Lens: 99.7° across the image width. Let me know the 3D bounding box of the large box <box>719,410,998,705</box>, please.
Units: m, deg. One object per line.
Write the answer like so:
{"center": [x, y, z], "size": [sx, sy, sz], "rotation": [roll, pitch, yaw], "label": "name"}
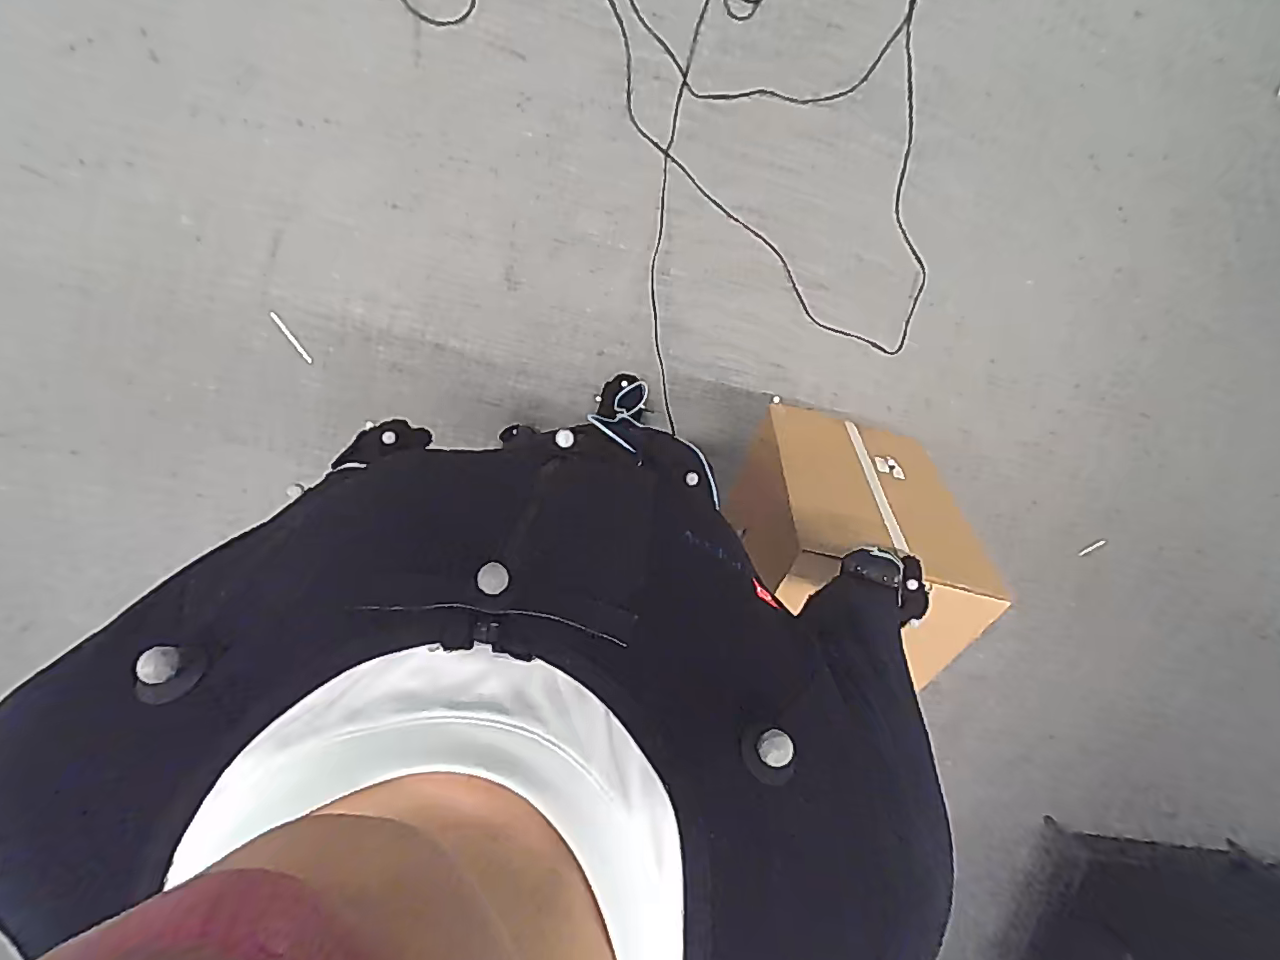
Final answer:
{"center": [0.342, 0.131, 0.995], "size": [0.320, 0.408, 0.320], "rotation": [15, 127, -5], "label": "large box"}
